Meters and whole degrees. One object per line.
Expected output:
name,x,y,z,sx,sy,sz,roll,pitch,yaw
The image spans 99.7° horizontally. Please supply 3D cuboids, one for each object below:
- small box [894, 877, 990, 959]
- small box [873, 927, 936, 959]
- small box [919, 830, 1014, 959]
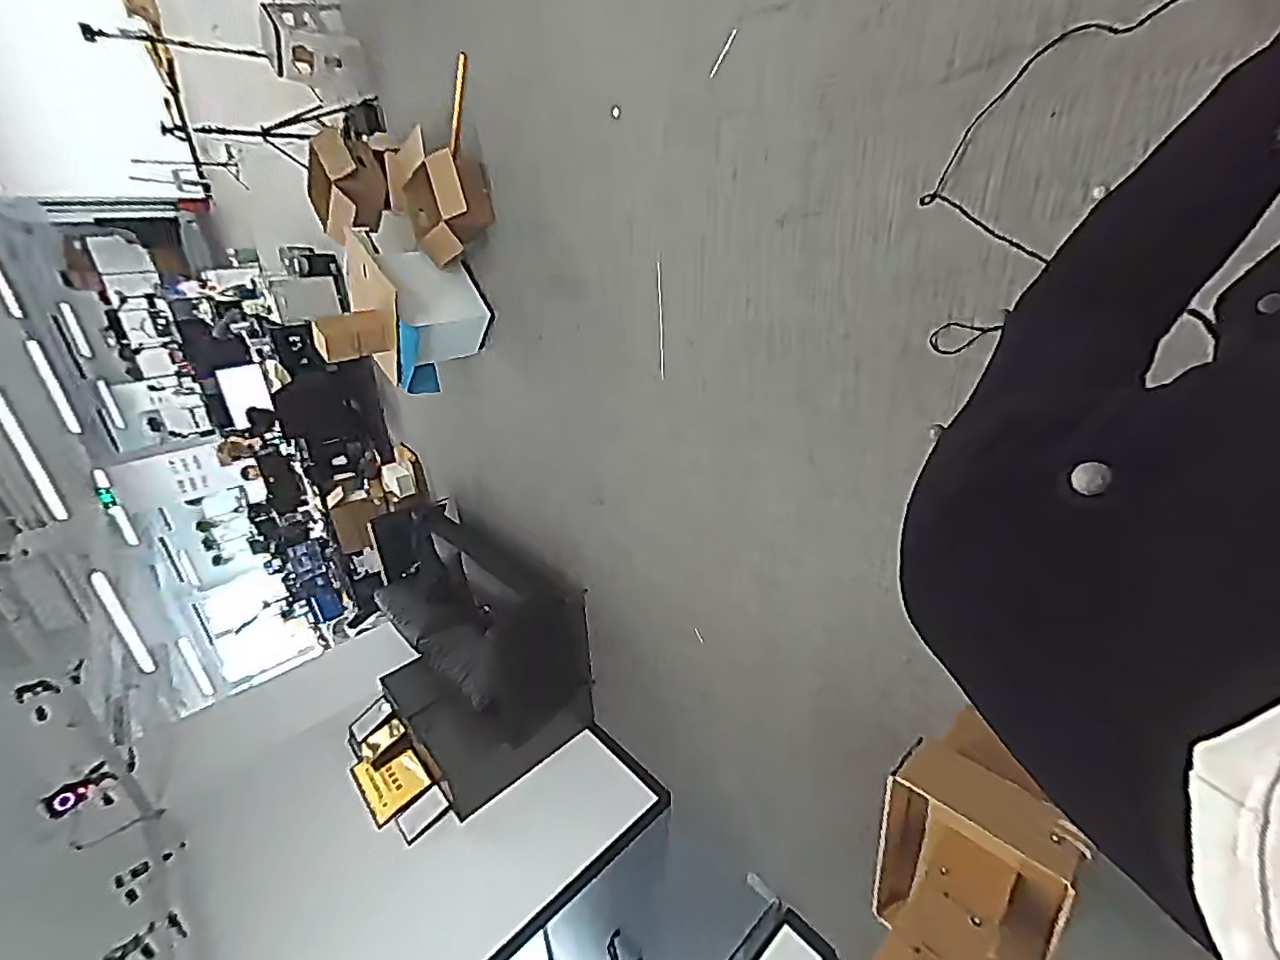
small box,0.730,1.136,1.326,0.168,0.176,0.179,22,126,43
small box,0.609,1.189,1.226,0.168,0.176,0.179,20,124,44
small box,0.851,1.078,1.420,0.179,0.176,0.168,20,124,45
